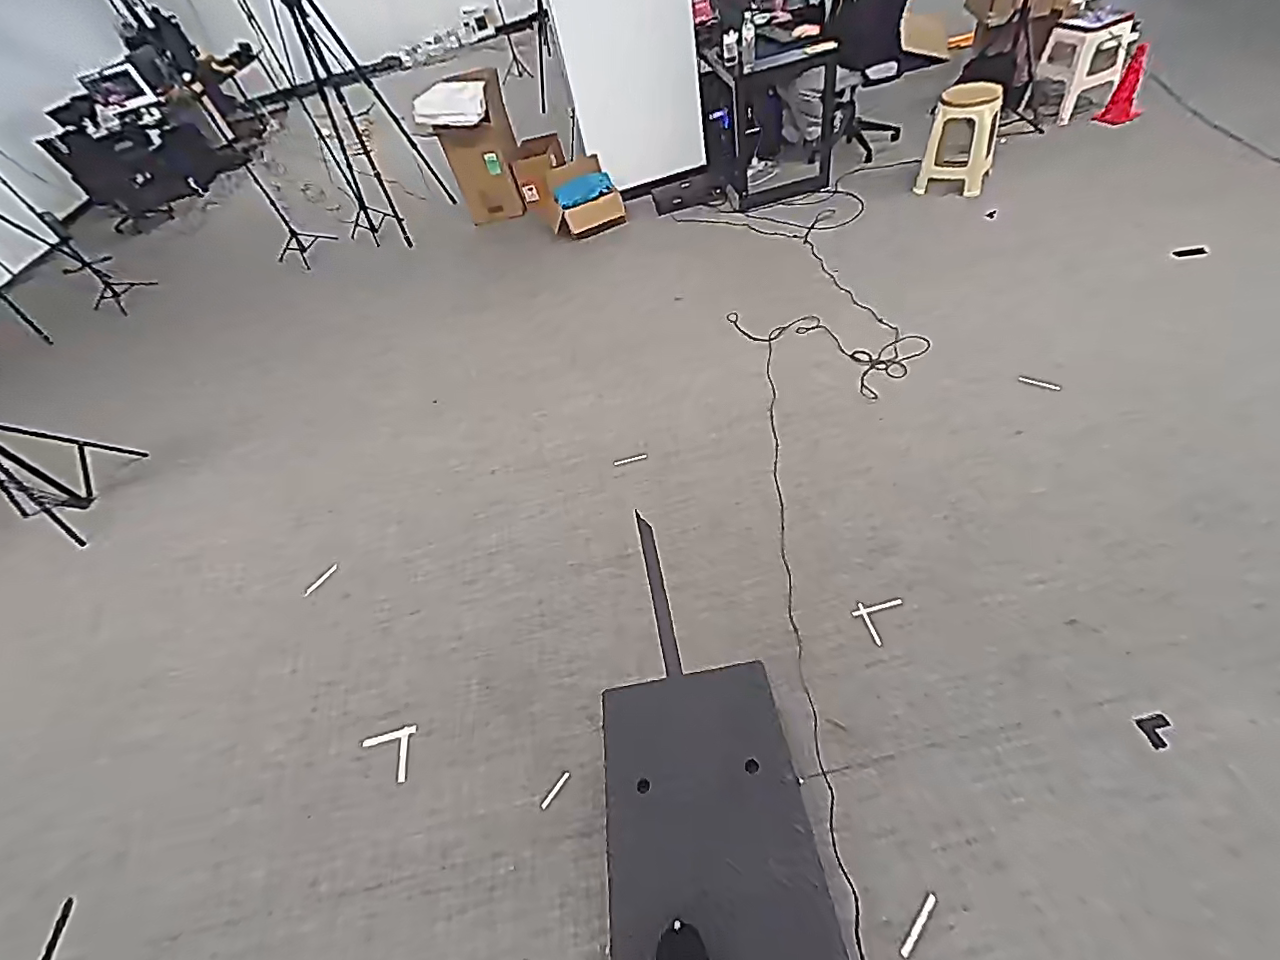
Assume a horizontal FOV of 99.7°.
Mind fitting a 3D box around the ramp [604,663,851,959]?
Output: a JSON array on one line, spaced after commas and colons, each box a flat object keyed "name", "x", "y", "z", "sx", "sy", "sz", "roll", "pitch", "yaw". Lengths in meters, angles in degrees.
[{"name": "ramp", "x": 0.166, "y": 0.900, "z": 1.226, "sx": 0.509, "sy": 0.206, "sz": 0.991, "roll": -15, "pitch": 47, "yaw": 4}]
